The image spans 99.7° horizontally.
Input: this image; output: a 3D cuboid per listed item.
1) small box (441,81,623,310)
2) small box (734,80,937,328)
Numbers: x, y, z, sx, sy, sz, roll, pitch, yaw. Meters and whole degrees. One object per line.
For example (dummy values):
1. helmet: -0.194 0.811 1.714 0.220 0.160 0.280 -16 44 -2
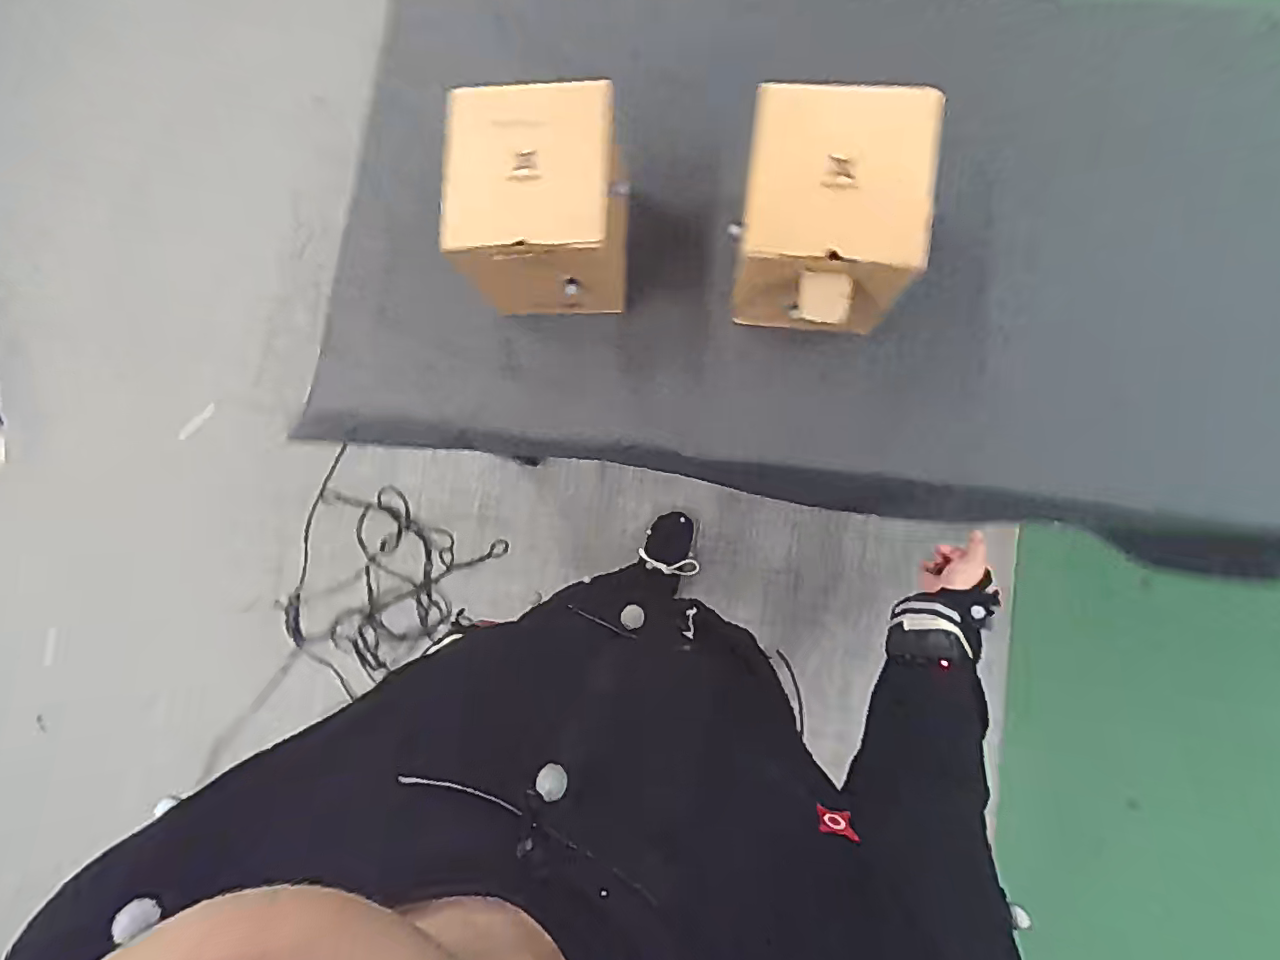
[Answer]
1. small box: -0.110 -0.306 0.621 0.168 0.176 0.179 0 84 5
2. small box: 0.196 -0.284 0.586 0.168 0.176 0.179 6 86 6
